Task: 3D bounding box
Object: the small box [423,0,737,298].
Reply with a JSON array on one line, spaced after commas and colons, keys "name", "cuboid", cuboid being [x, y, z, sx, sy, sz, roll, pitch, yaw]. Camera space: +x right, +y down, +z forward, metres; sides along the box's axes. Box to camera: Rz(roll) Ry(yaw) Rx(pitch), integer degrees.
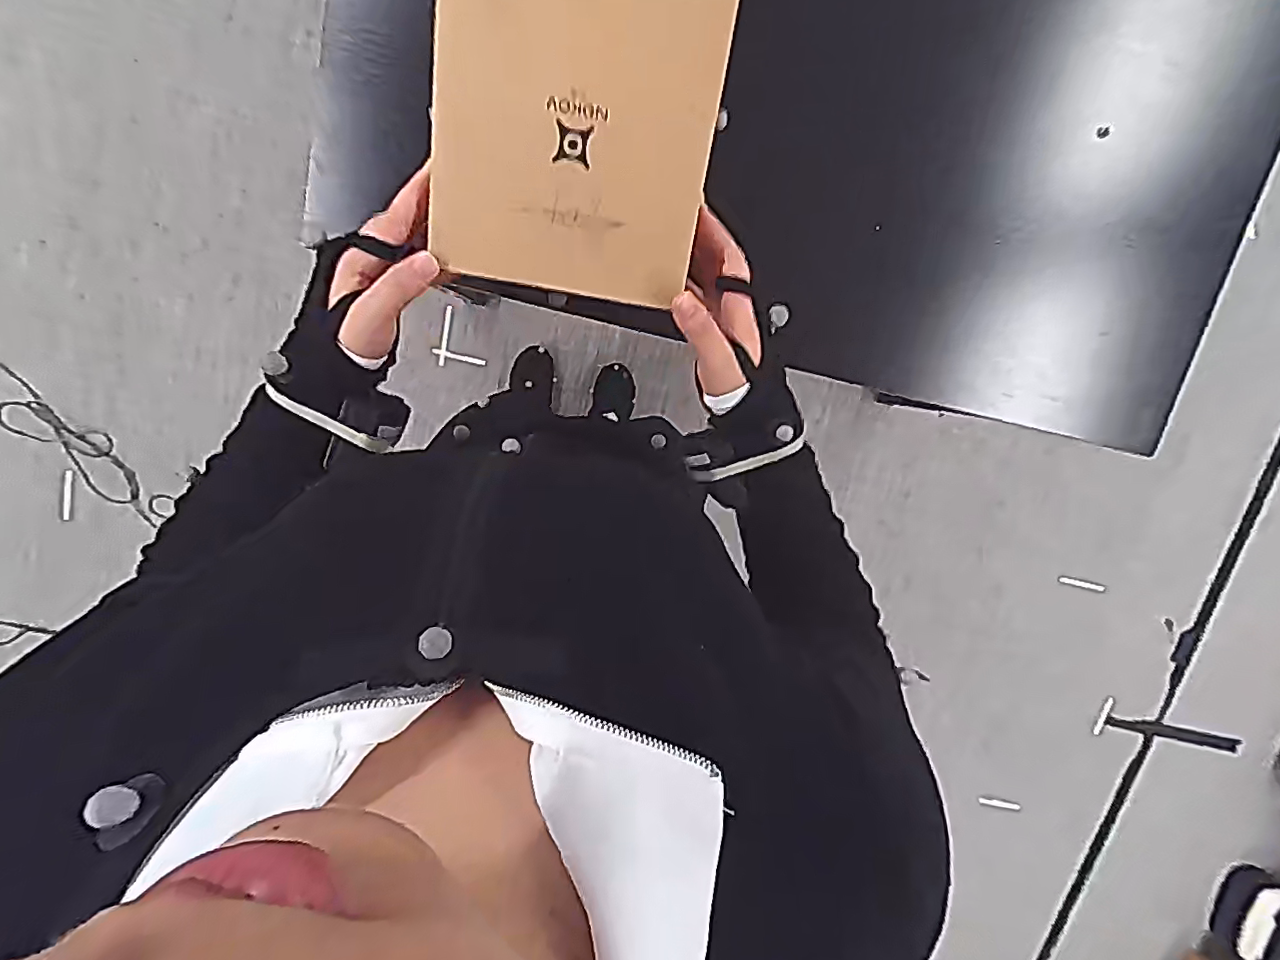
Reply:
[{"name": "small box", "cuboid": [-0.043, -0.239, 0.391, 0.168, 0.176, 0.179, 9, 111, -5]}]
